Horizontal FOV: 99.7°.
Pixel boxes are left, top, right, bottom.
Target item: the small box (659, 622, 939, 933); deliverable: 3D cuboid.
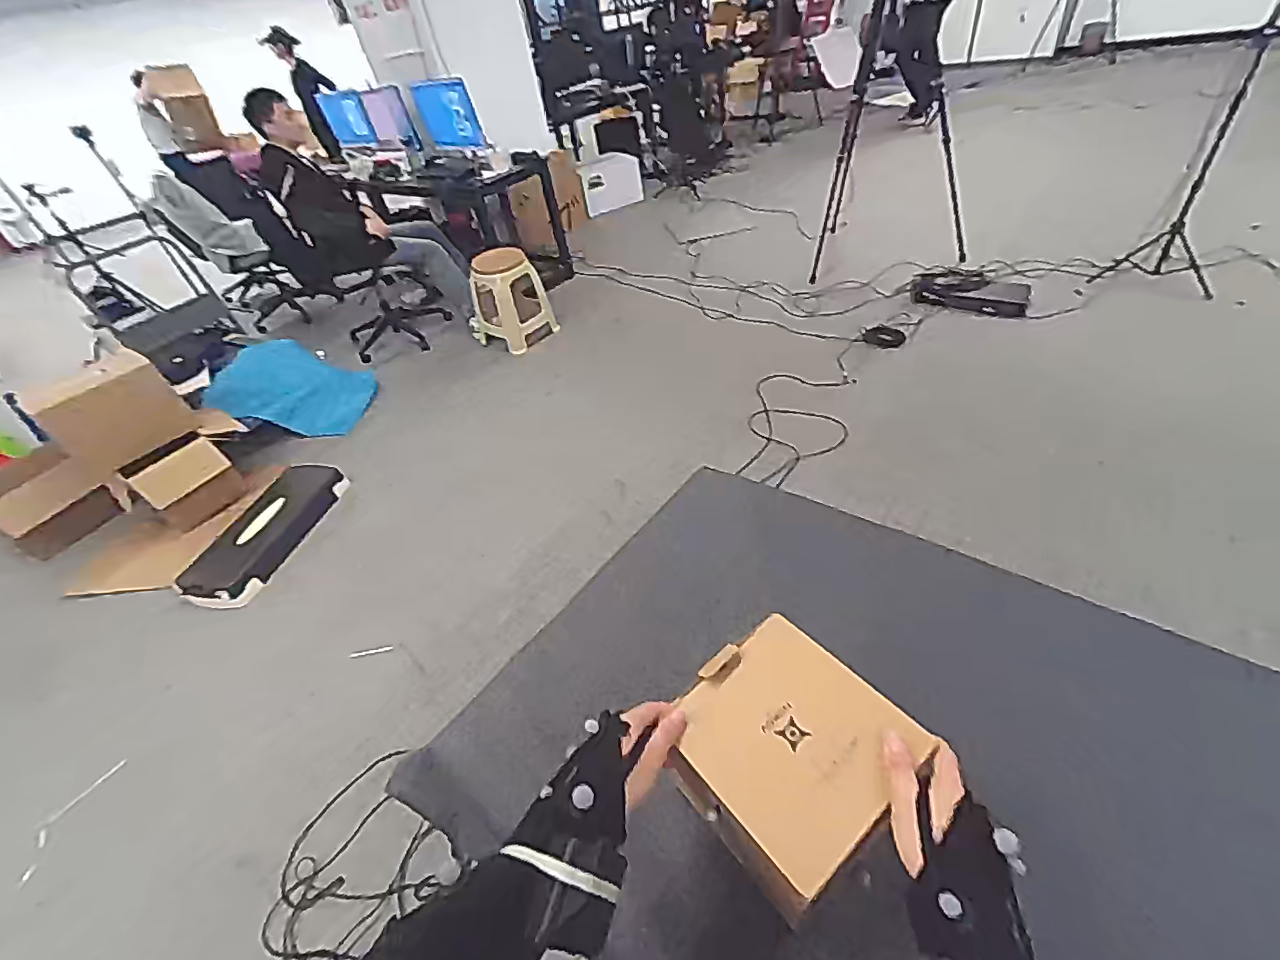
[{"bbox_3d":[0.142,0.280,0.517,0.168,0.176,0.179,-35,48,-22],"label":"small box"}]
